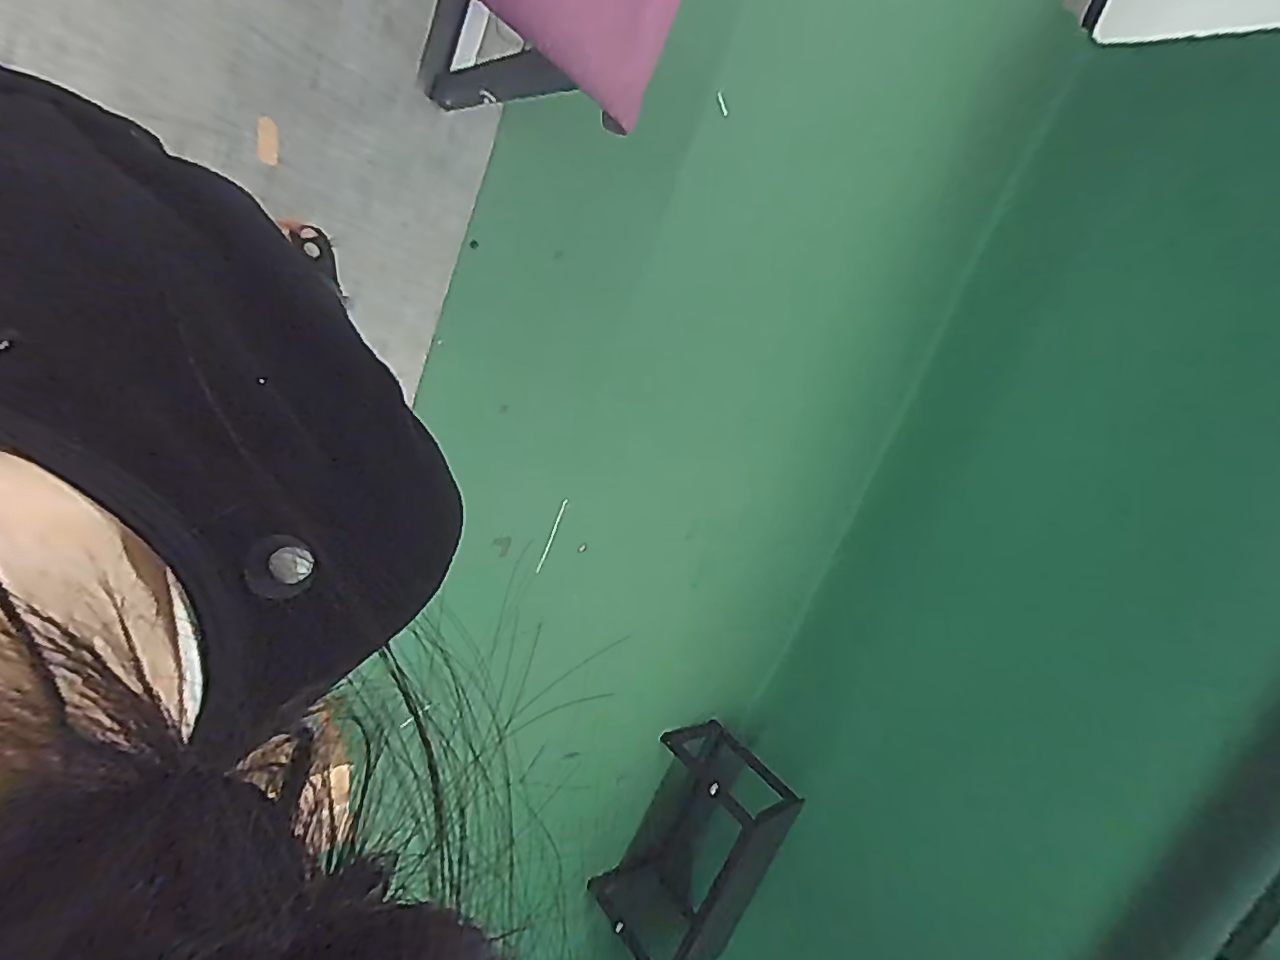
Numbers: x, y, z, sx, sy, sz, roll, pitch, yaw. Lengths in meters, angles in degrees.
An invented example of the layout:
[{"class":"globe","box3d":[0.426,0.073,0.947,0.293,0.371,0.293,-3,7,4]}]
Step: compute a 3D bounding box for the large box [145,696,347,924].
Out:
[{"class":"large box","box3d":[-1.088,0.886,1.514,0.408,0.320,0.320,-8,119,-42]}]
